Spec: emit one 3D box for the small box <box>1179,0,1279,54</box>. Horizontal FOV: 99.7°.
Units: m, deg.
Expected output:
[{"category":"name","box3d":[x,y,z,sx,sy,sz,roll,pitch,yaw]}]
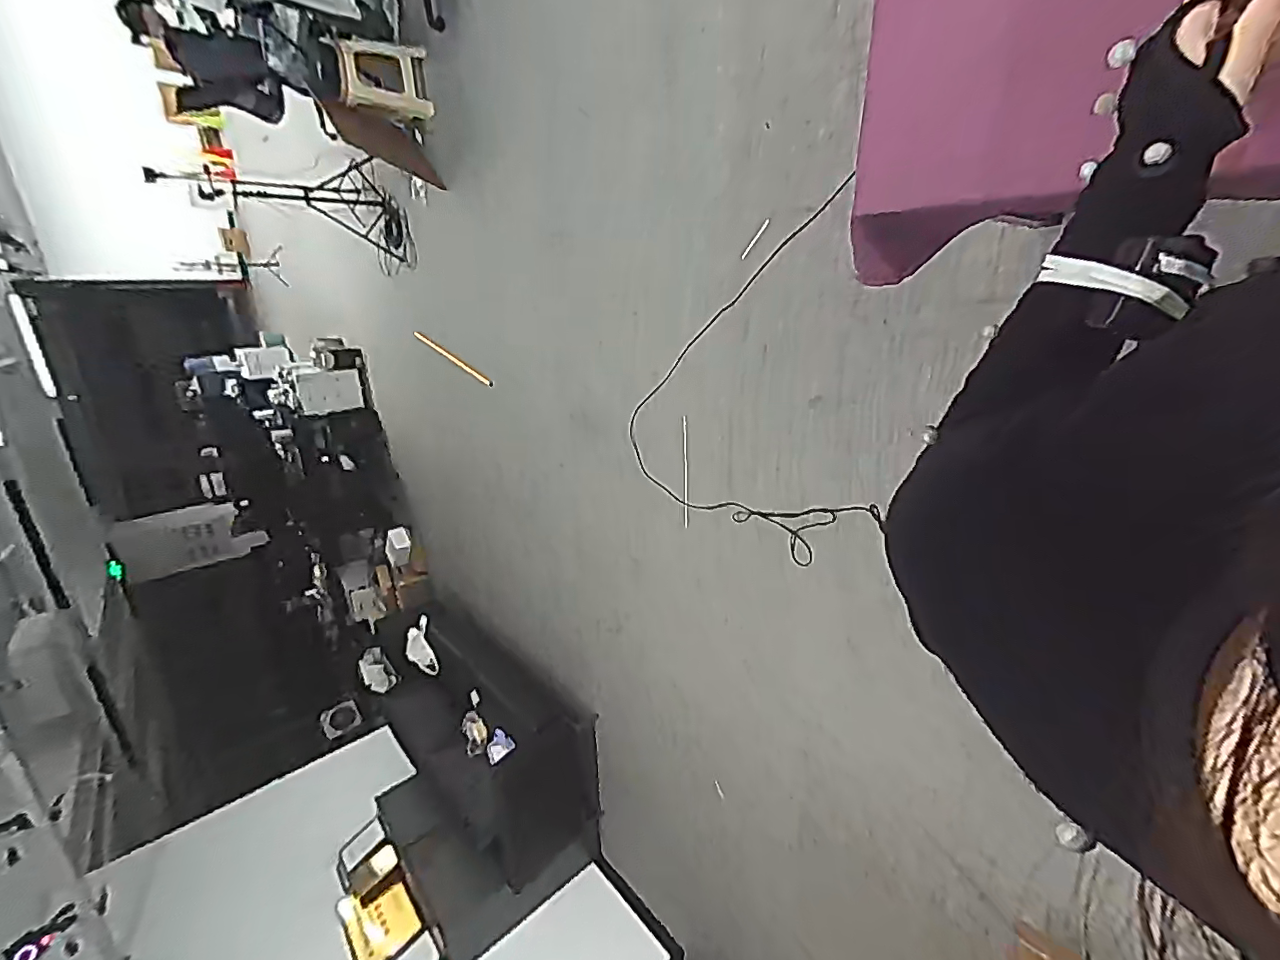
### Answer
[{"category":"small box","box3d":[0.518,-0.424,0.369,0.168,0.176,0.179,20,119,45]}]
